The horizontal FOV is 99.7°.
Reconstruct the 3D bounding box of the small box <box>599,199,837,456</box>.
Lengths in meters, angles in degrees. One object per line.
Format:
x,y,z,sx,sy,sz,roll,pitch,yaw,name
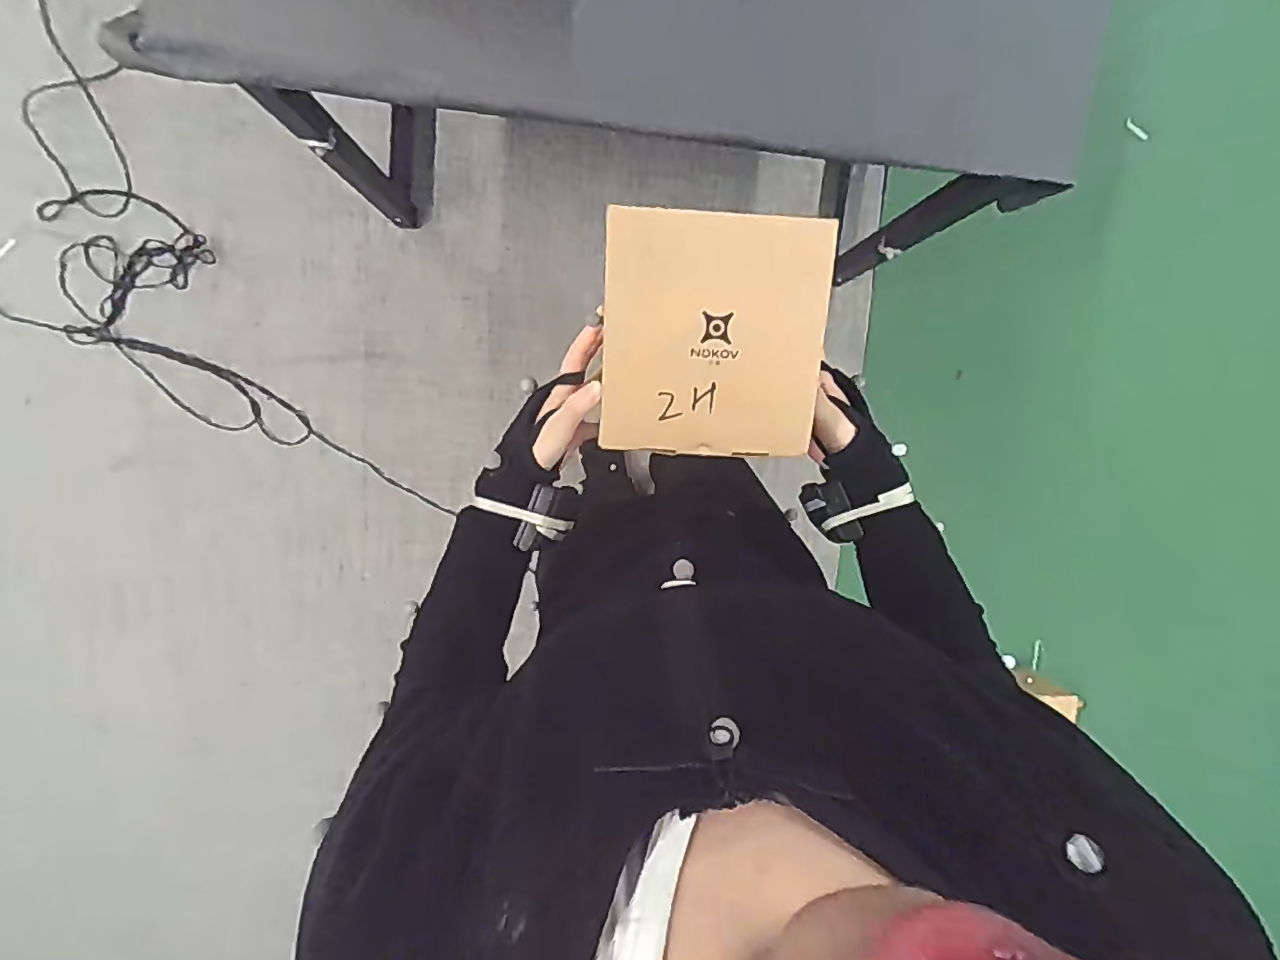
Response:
0.052,-0.126,0.481,0.168,0.176,0.179,4,104,-3,small box
